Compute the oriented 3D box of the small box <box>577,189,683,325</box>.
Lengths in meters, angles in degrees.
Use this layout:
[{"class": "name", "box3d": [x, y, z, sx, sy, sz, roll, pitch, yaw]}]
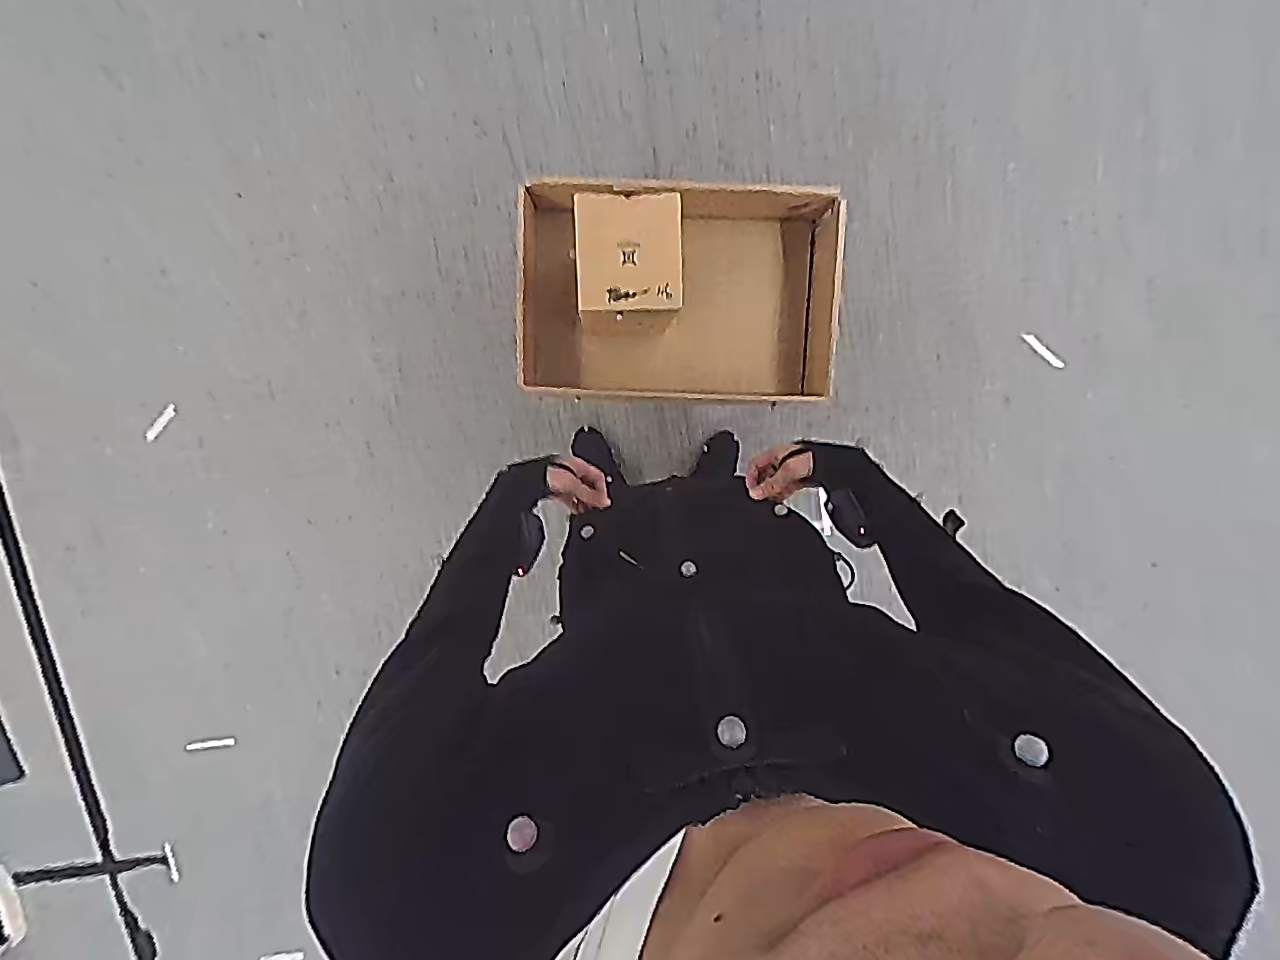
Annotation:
[{"class": "small box", "box3d": [-0.021, -0.365, 0.910, 0.168, 0.176, 0.179, -2, 97, -3]}]
